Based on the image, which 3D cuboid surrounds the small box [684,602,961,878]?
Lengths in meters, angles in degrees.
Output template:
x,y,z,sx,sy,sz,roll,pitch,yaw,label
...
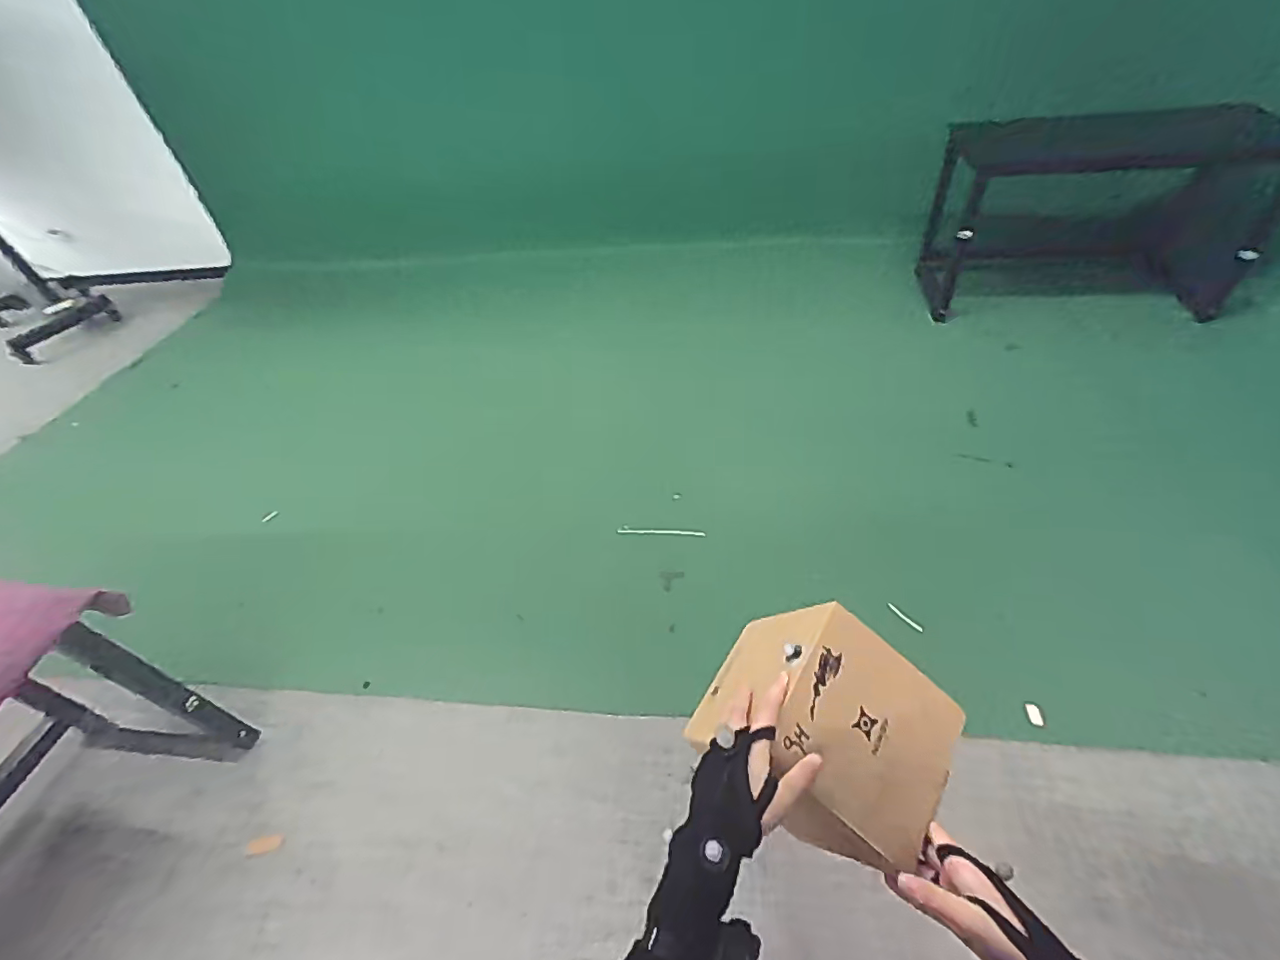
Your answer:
x,y,z,sx,sy,sz,roll,pitch,yaw,label
0.178,0.254,0.558,0.179,0.176,0.168,40,60,-1,small box
